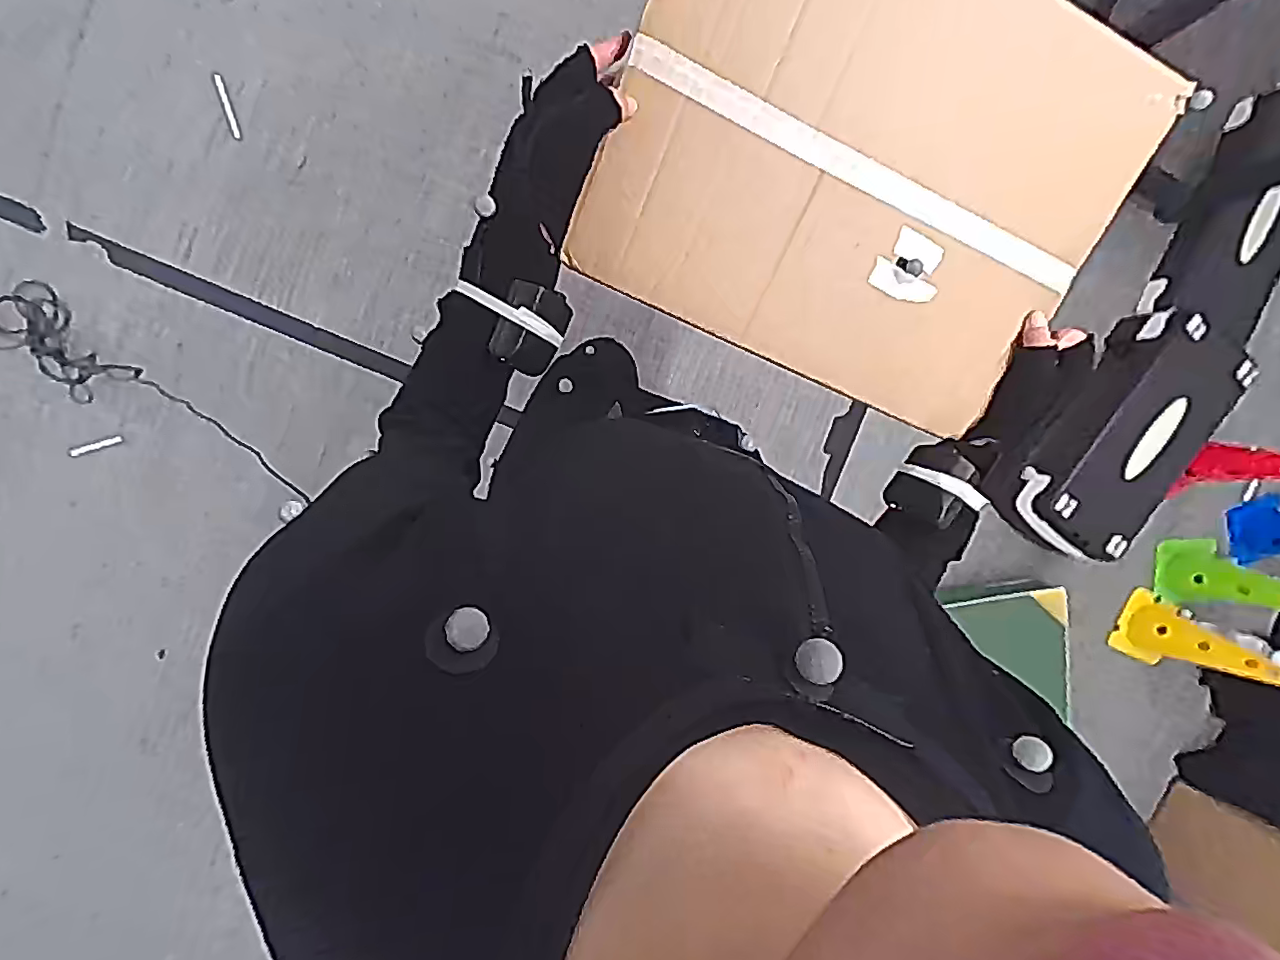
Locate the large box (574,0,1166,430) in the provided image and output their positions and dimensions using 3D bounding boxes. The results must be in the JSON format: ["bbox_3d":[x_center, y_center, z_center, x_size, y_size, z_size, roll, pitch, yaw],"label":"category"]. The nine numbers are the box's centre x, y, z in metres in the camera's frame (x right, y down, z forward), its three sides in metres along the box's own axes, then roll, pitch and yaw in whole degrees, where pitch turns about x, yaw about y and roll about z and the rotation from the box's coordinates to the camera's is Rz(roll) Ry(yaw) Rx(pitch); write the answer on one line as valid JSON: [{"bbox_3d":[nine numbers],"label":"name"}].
[{"bbox_3d":[0.173,-0.297,0.580,0.408,0.320,0.320,21,108,-11],"label":"large box"}]
